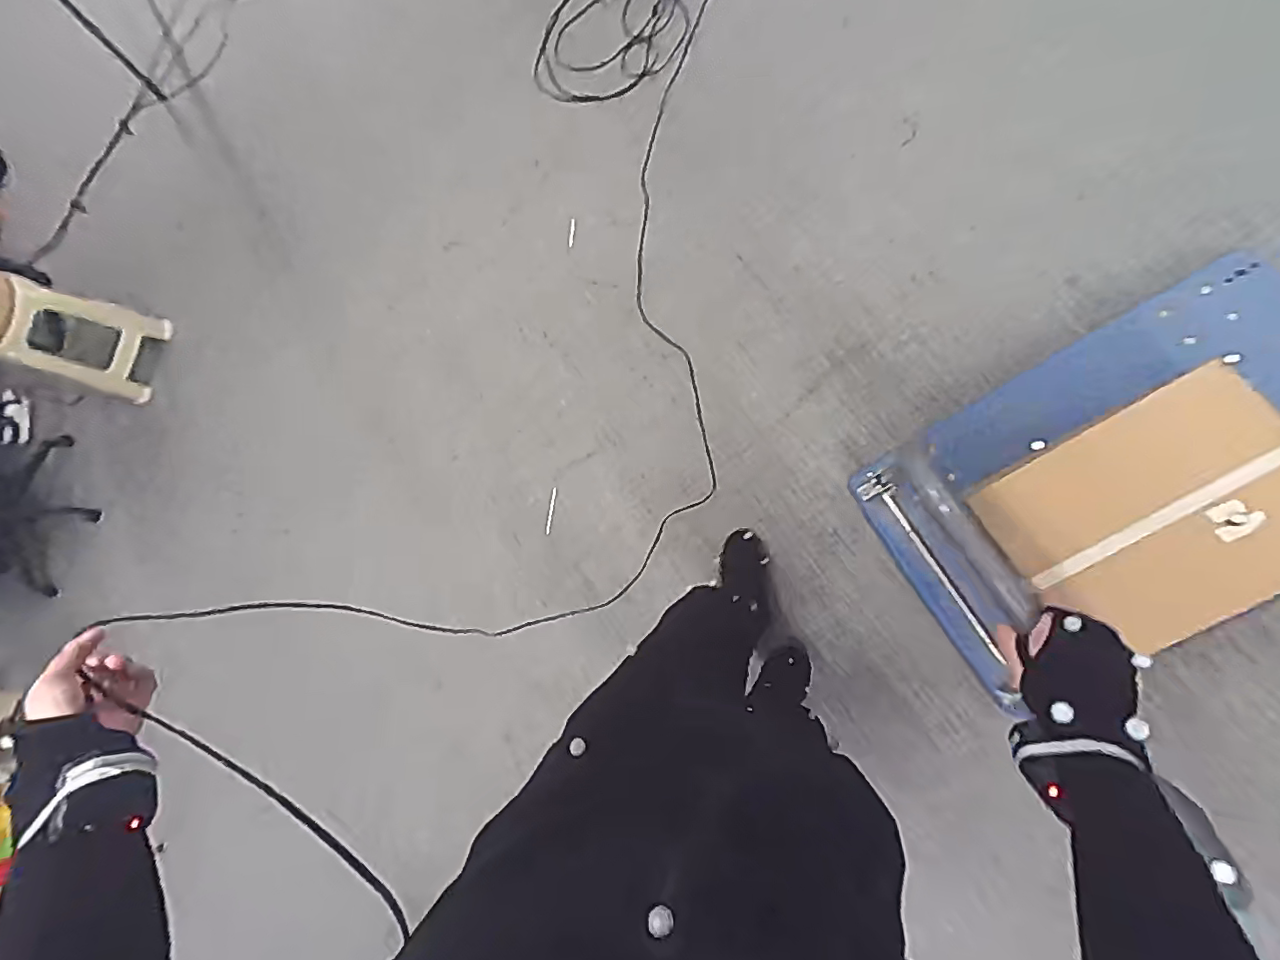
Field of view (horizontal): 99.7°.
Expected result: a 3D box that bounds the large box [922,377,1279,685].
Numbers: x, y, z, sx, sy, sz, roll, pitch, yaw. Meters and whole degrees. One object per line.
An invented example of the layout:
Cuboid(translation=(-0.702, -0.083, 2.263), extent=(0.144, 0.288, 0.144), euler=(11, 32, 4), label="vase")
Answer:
Cuboid(translation=(0.793, 0.099, 0.950), extent=(0.408, 0.320, 0.320), euler=(-33, 74, 10), label="large box")
